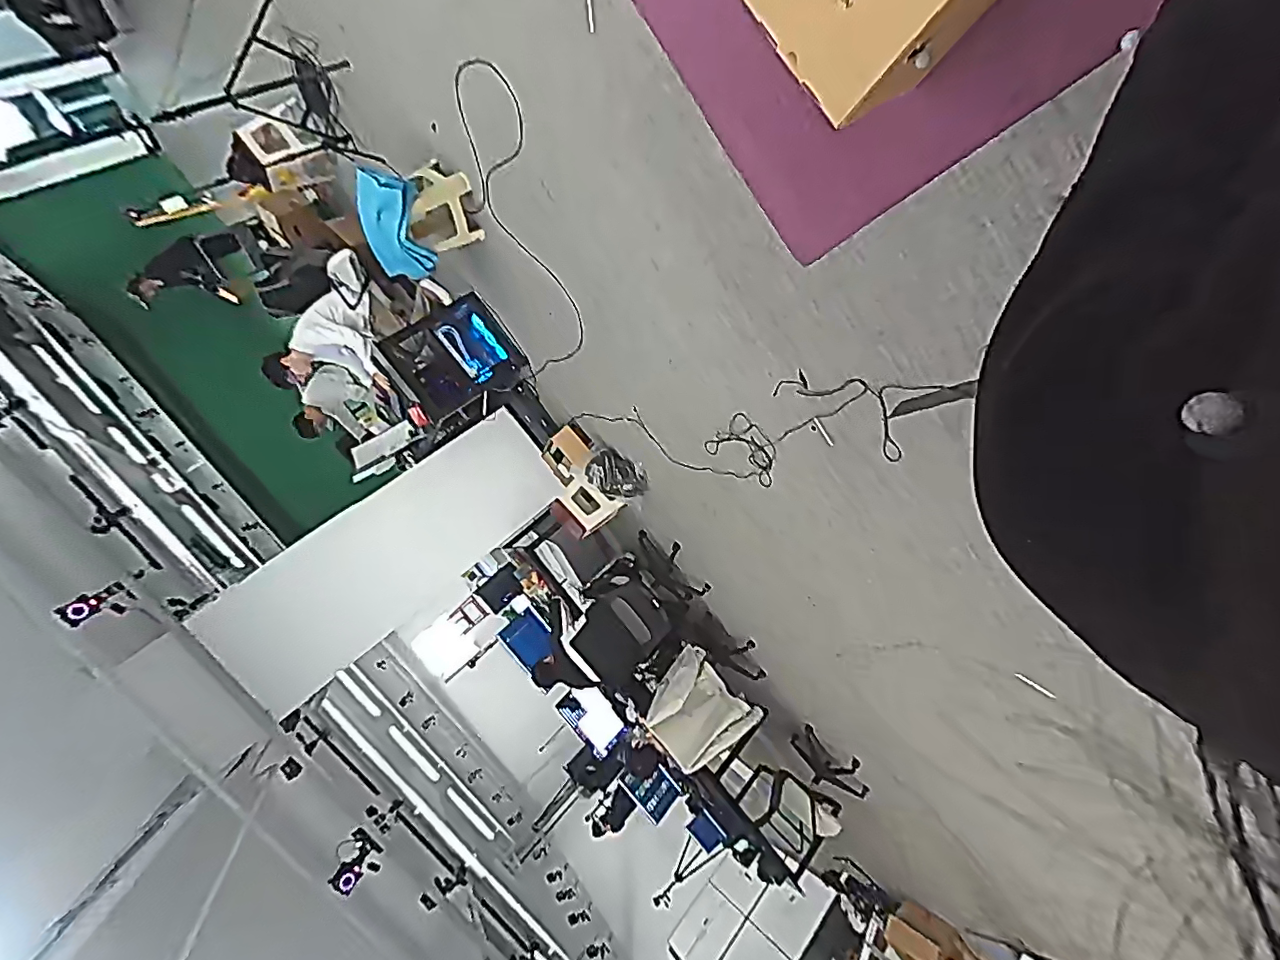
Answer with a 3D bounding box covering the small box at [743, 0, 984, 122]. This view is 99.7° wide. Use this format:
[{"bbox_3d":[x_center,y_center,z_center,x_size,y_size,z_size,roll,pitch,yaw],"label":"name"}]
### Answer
[{"bbox_3d":[0.238,-0.500,0.513,0.168,0.176,0.179,51,155,-4],"label":"small box"}]
